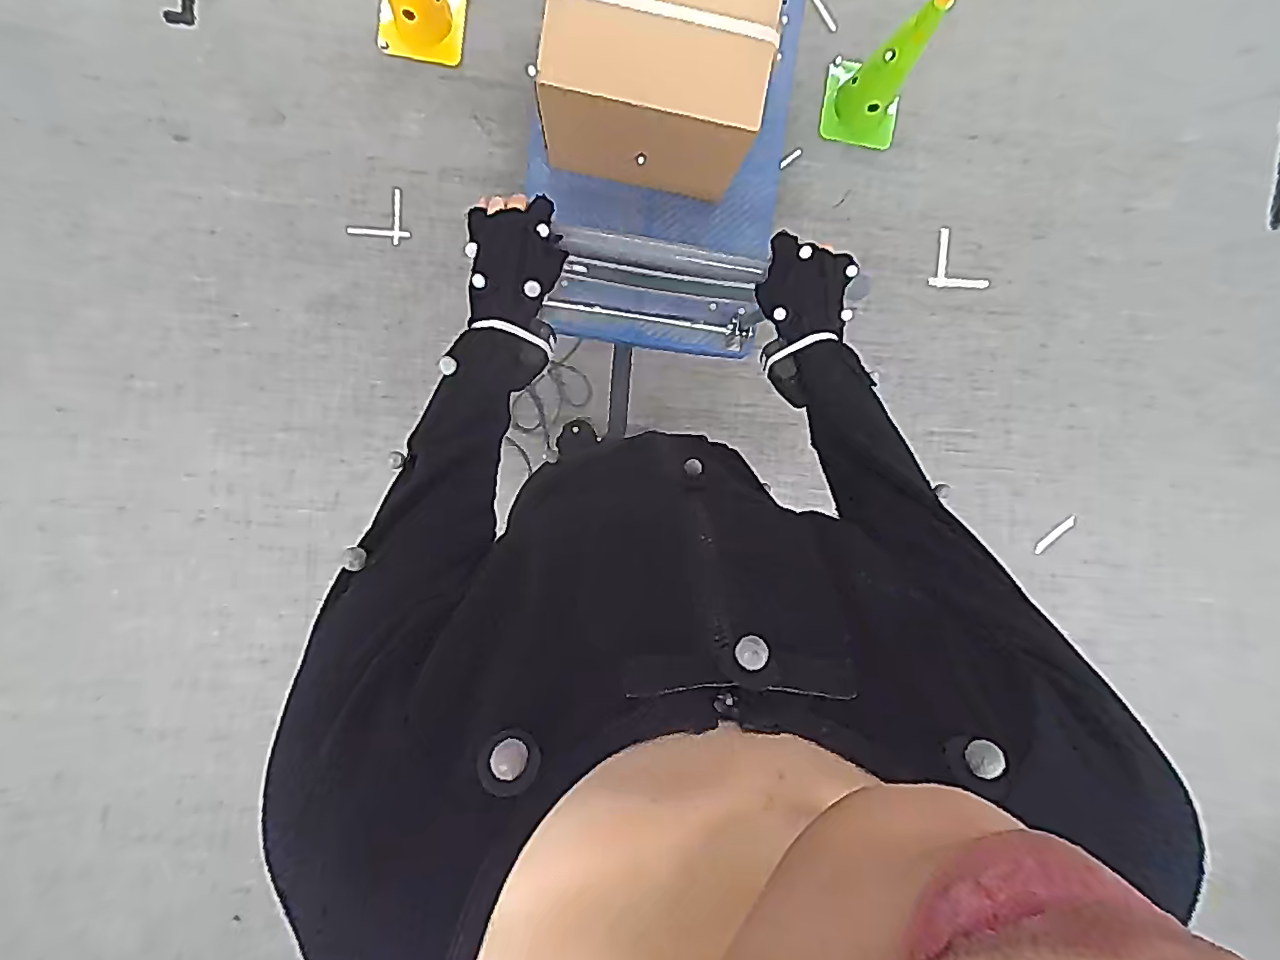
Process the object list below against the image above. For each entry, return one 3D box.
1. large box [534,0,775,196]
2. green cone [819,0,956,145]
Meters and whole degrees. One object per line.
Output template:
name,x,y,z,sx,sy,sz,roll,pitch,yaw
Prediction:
large box,0.025,-0.822,1.094,0.408,0.320,0.320,9,95,-5
green cone,0.598,-0.992,1.266,0.202,0.368,0.200,8,95,-6
